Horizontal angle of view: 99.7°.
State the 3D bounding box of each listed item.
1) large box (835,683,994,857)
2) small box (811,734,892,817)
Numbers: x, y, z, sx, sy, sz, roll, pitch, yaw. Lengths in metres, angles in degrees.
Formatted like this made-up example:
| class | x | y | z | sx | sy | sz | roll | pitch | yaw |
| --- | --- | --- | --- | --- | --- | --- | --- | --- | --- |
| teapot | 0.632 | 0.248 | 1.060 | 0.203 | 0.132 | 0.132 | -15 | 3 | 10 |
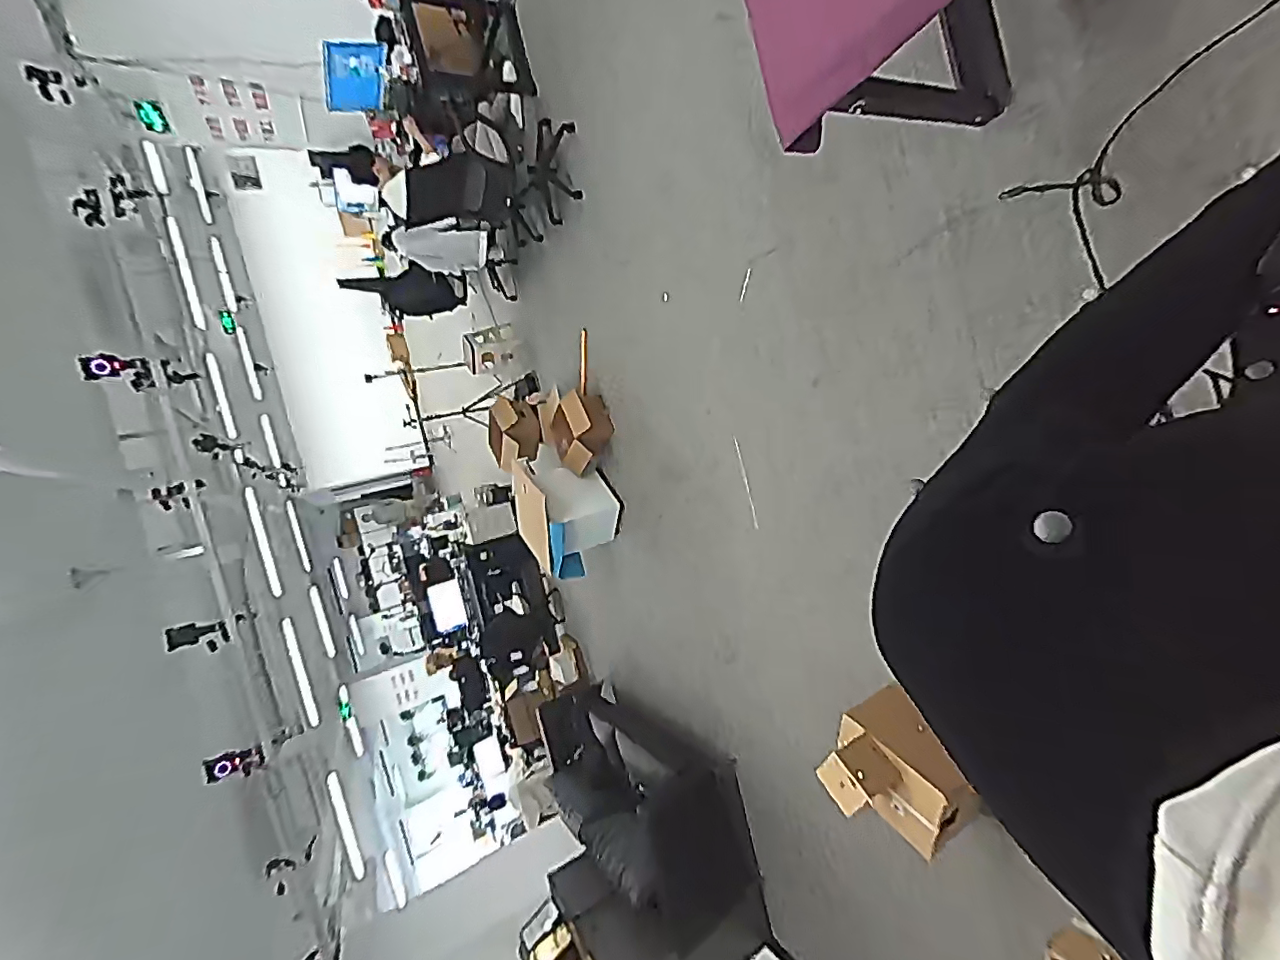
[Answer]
| class | x | y | z | sx | sy | sz | roll | pitch | yaw |
| --- | --- | --- | --- | --- | --- | --- | --- | --- | --- |
| large box | 0.977 | 1.029 | 1.973 | 0.408 | 0.320 | 0.320 | 31 | 130 | 51 |
| small box | 0.738 | 1.025 | 1.880 | 0.168 | 0.176 | 0.179 | 51 | 143 | 37 |
